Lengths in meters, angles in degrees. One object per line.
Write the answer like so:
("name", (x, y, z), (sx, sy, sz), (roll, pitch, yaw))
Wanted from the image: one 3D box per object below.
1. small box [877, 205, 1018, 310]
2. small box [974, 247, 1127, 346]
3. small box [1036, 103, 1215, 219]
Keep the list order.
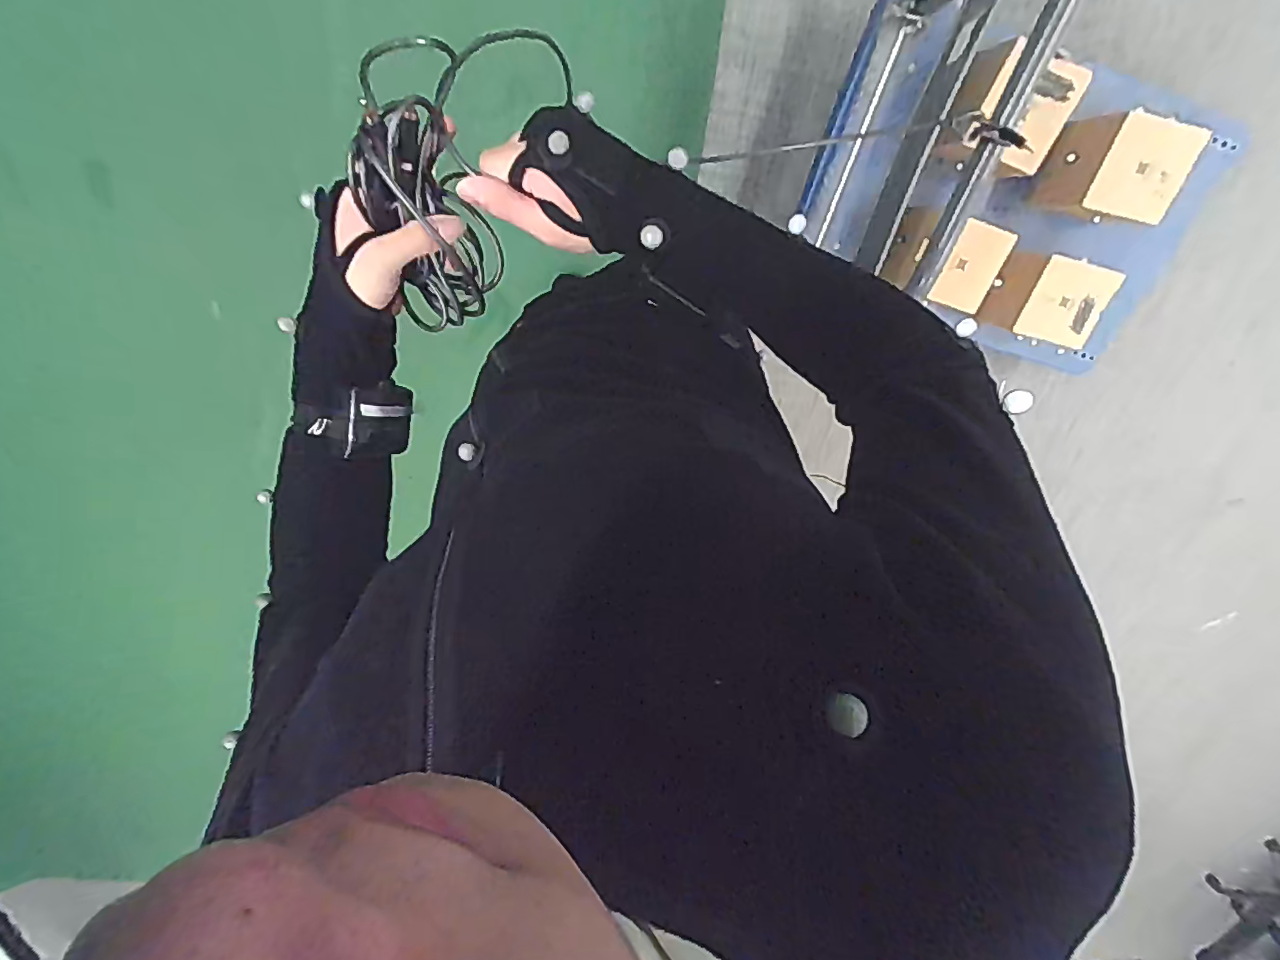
("small box", (0.660, -0.492, 1.184), (0.179, 0.176, 0.168), (15, 116, -7))
("small box", (0.912, -0.420, 1.221), (0.179, 0.176, 0.168), (12, 116, -6))
("small box", (0.971, -0.643, 1.104), (0.179, 0.176, 0.168), (11, 118, -5))
